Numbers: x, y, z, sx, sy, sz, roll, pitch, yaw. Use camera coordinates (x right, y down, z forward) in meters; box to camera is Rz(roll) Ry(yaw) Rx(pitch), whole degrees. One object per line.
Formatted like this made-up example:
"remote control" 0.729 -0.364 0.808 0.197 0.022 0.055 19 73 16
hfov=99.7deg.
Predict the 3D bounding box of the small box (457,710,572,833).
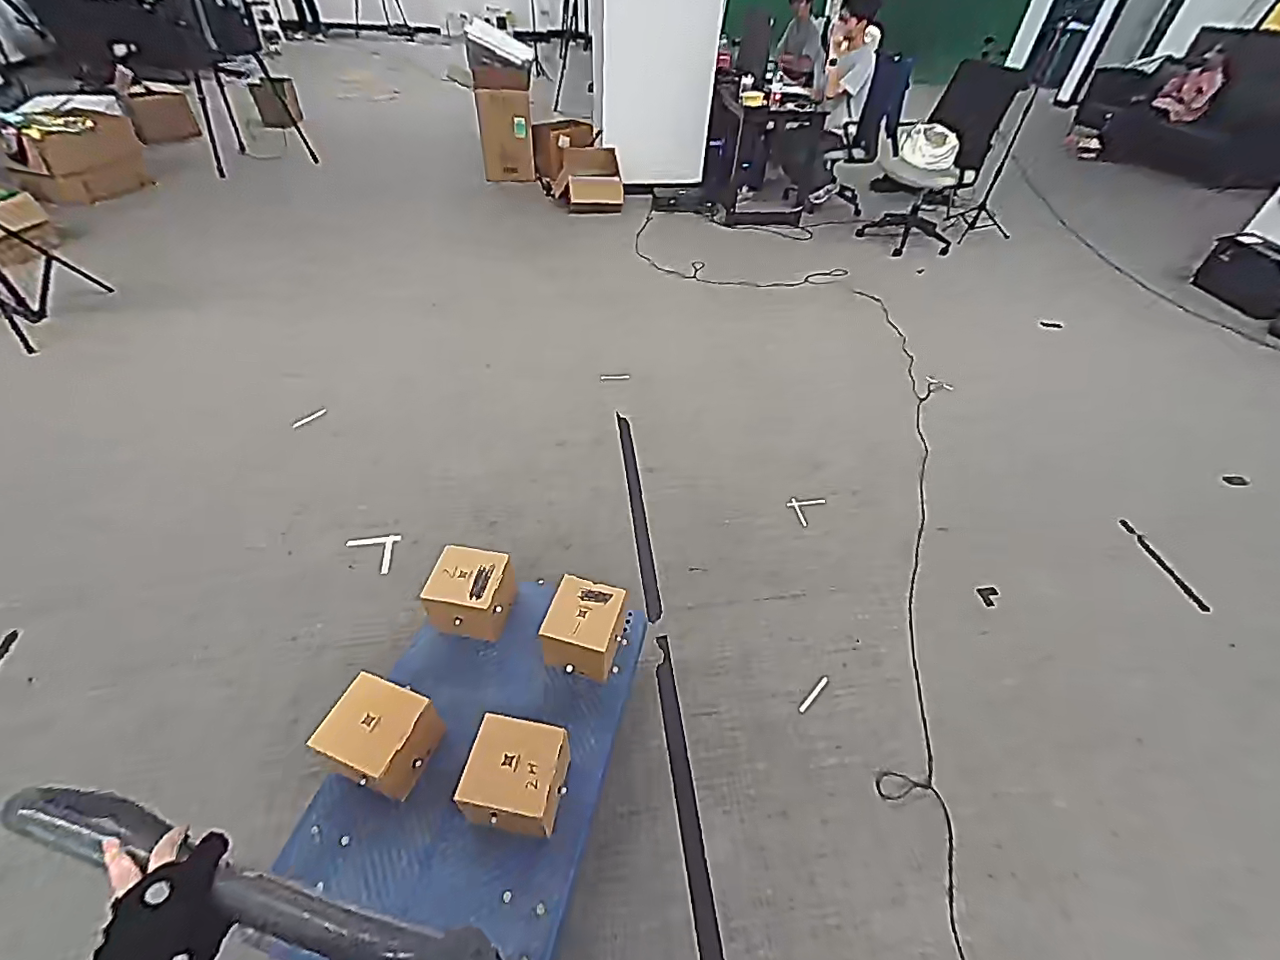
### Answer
"small box" -0.248 0.604 1.116 0.179 0.176 0.168 9 45 6

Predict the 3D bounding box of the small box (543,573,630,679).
"small box" -0.131 0.368 1.359 0.168 0.176 0.179 13 47 9

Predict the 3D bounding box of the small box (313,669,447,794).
"small box" -0.546 0.542 1.160 0.179 0.176 0.168 17 46 11
